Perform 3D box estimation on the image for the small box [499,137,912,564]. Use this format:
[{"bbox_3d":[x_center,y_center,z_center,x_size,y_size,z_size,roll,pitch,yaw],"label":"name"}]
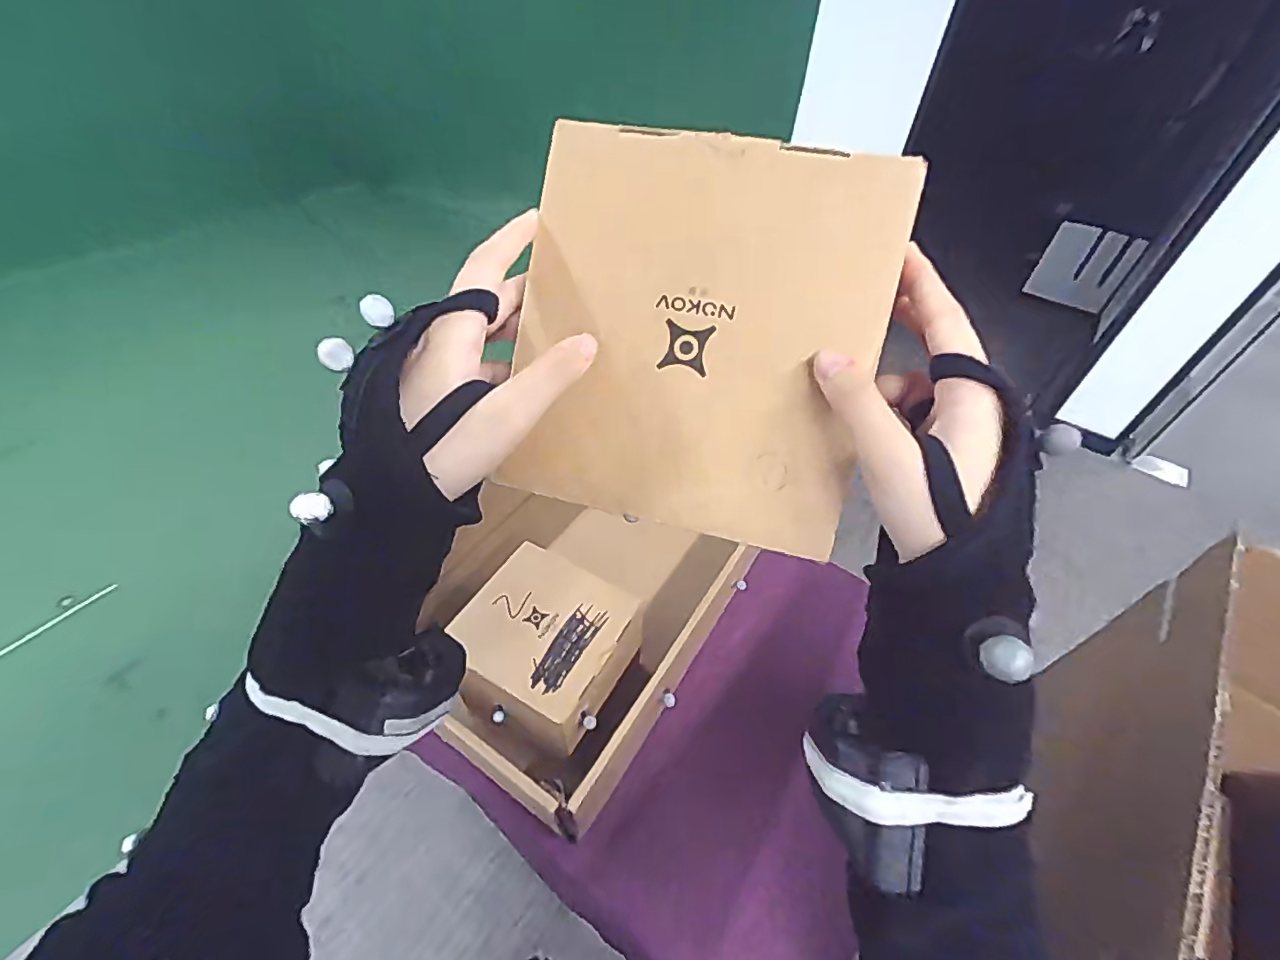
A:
[{"bbox_3d":[0.038,-0.067,0.330,0.168,0.179,0.176,12,5,10],"label":"small box"}]
